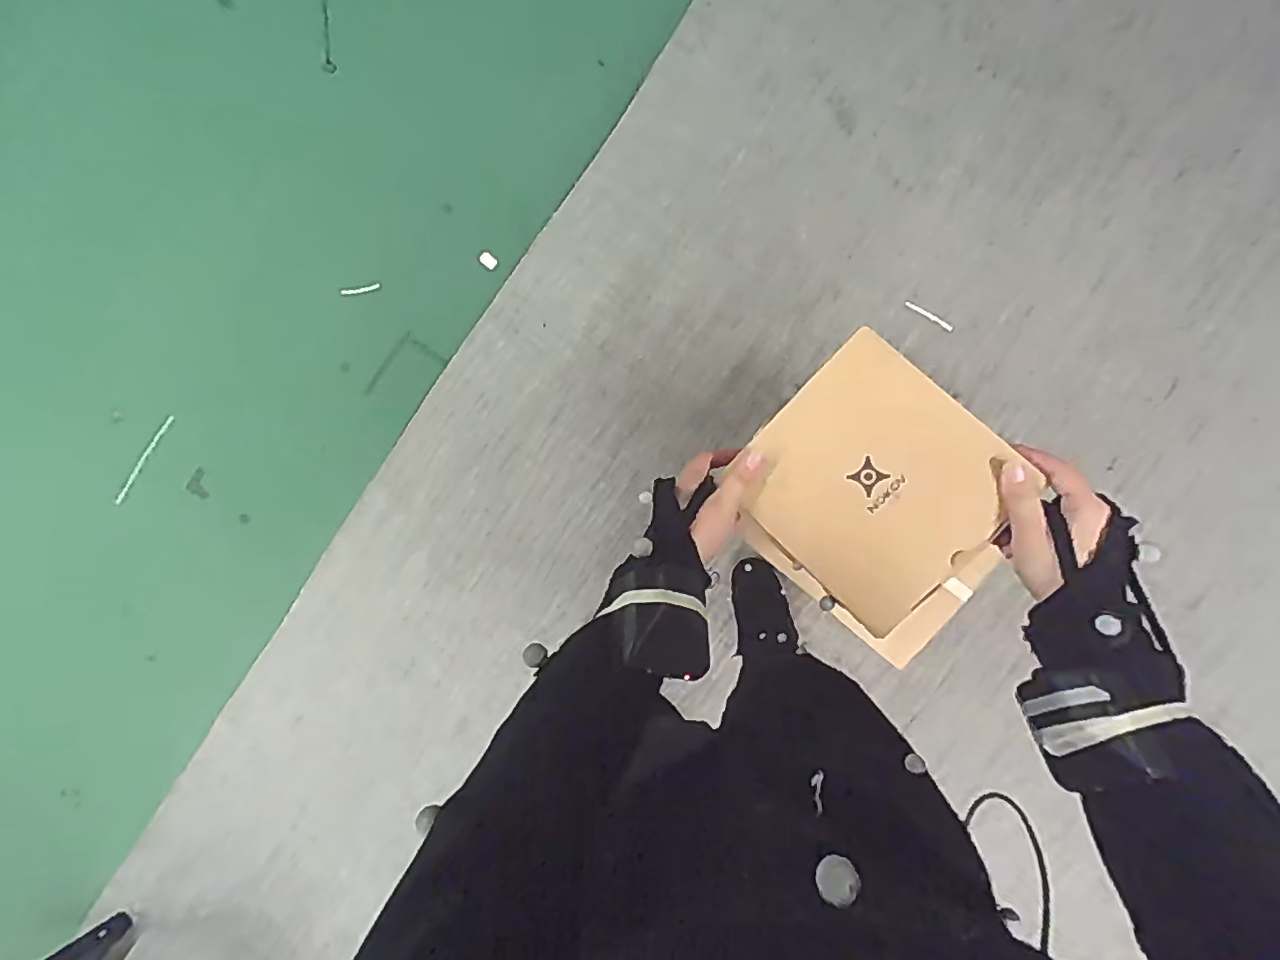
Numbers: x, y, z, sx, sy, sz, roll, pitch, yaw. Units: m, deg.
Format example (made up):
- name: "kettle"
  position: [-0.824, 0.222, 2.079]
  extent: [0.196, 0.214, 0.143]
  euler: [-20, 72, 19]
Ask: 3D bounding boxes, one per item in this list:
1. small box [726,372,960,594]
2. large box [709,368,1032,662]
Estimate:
- name: "small box"
  position: [0.223, 0.005, 0.639]
  extent: [0.168, 0.176, 0.179]
  euler: [43, 96, 8]
- name: "large box"
  position: [0.385, 0.054, 1.018]
  extent: [0.408, 0.320, 0.320]
  euler: [40, 97, 10]
